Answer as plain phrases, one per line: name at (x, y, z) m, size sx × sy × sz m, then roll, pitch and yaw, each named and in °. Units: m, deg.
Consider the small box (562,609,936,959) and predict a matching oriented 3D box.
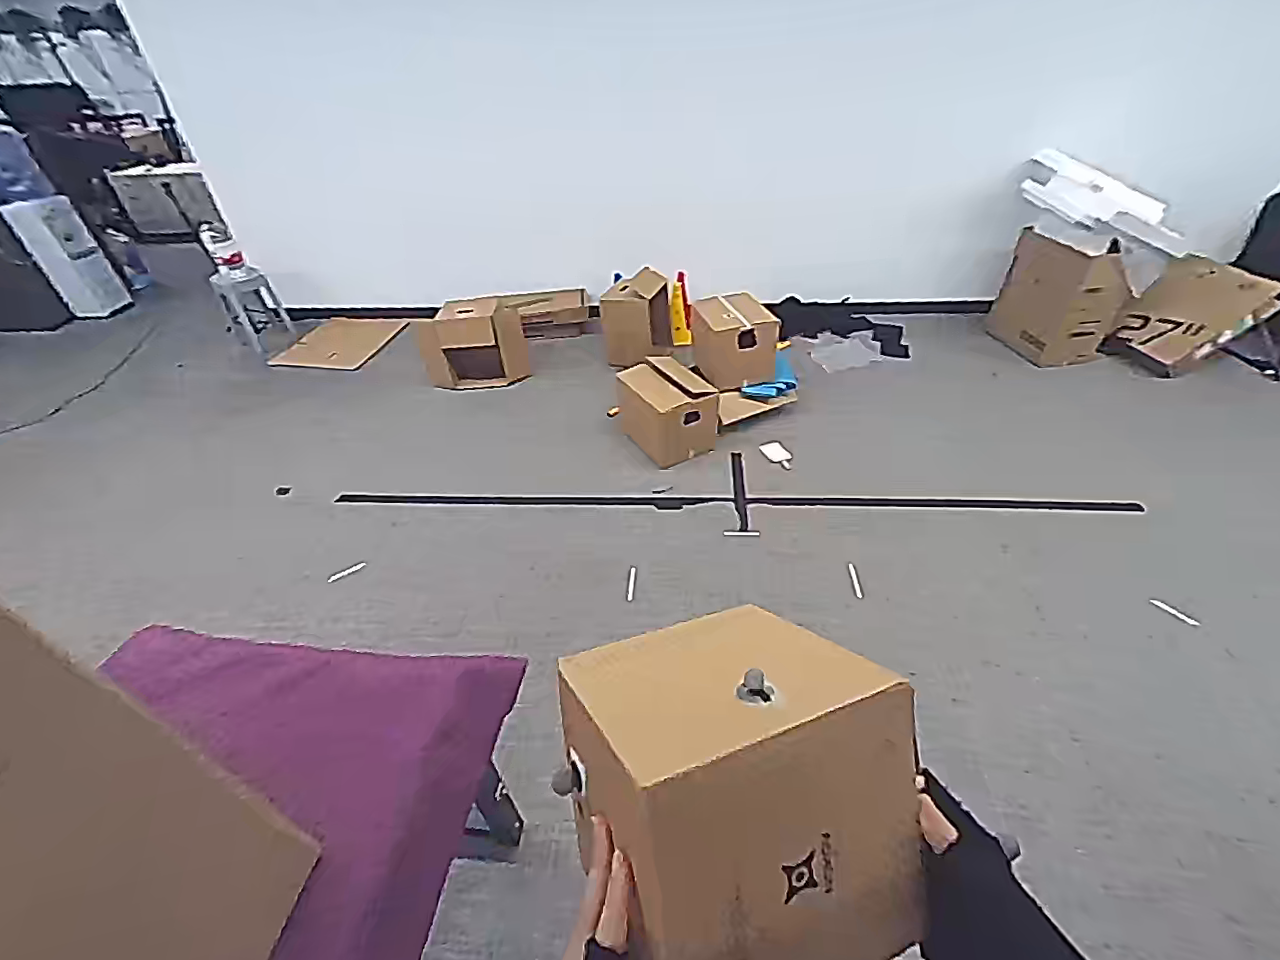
small box at (0.060, 0.199, 0.363) m, size 0.179 × 0.168 × 0.176 m, roll -10°, pitch 5°, yaw -21°
